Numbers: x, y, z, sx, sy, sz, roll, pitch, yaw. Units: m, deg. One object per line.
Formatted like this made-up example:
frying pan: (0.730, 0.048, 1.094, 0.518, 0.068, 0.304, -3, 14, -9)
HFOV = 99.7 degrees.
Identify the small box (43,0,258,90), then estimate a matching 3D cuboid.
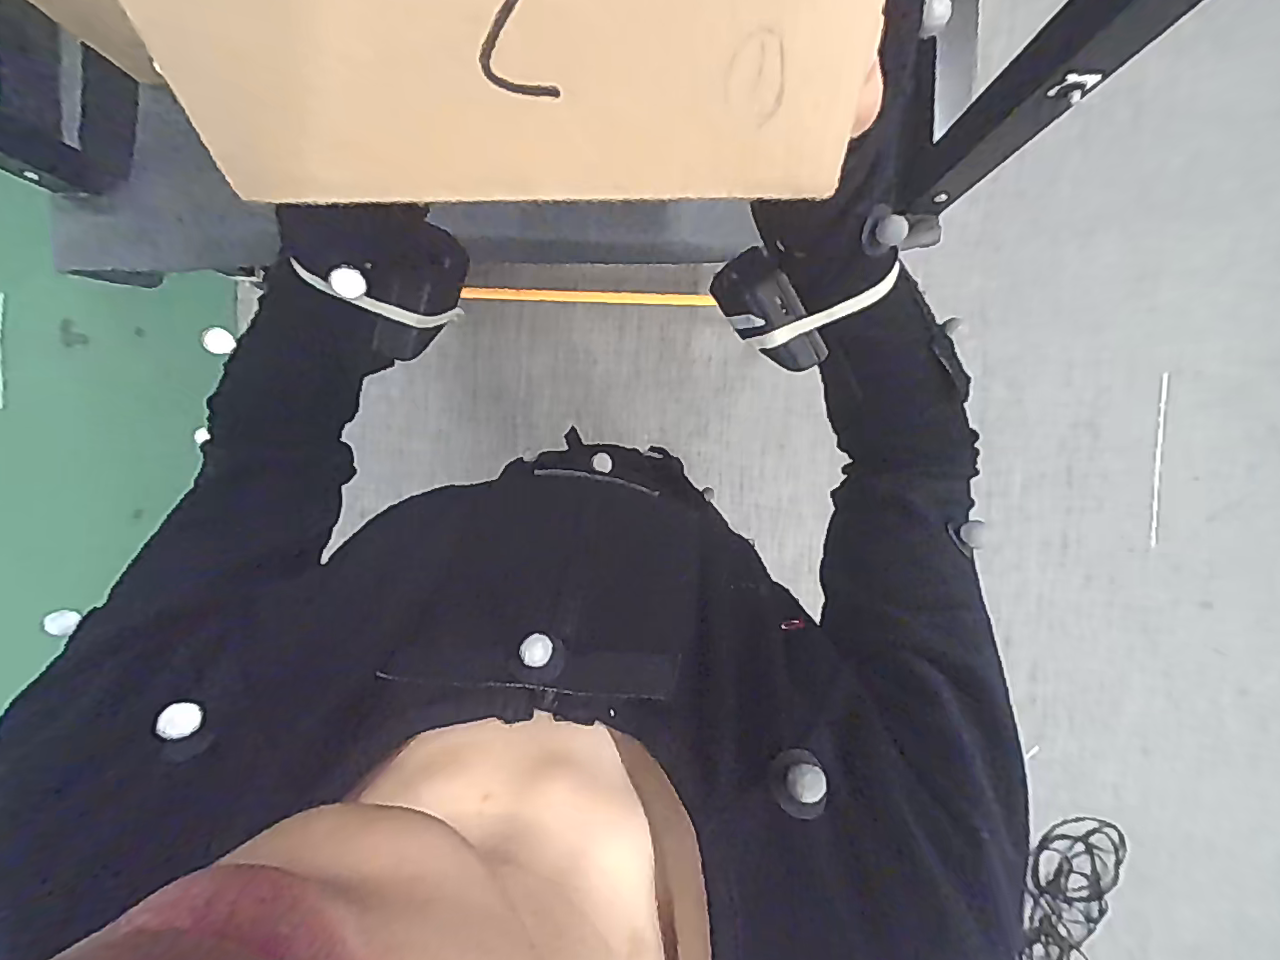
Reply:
small box: (-0.592, -0.614, 0.644, 0.168, 0.176, 0.179, 3, 93, 0)
